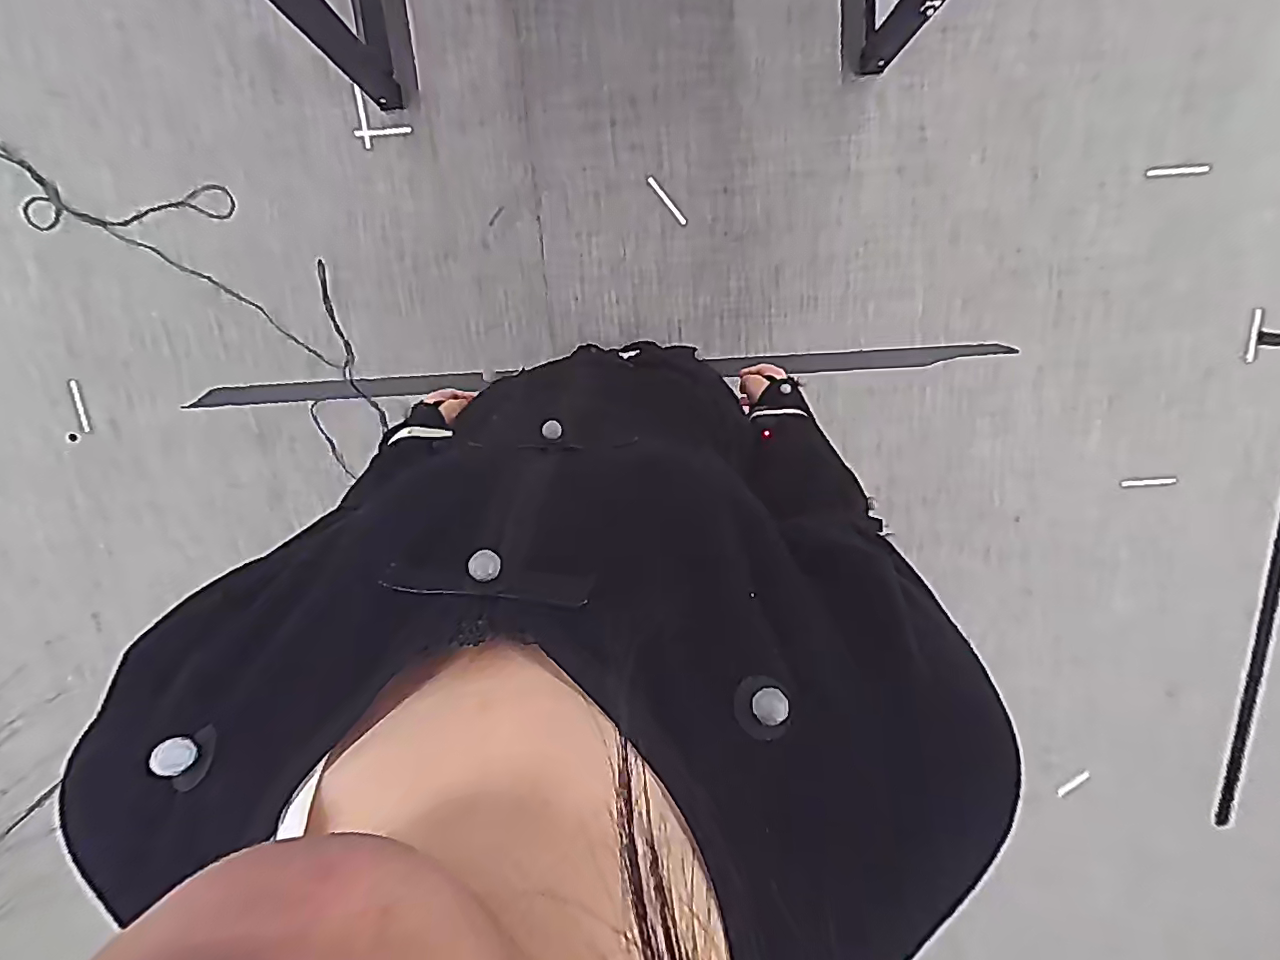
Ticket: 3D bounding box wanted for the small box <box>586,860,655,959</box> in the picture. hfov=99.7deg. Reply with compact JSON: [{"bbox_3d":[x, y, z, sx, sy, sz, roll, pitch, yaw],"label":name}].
[{"bbox_3d":[-0.051,1.203,1.496,0.168,0.176,0.179,-8,103,0],"label":"small box"}]
